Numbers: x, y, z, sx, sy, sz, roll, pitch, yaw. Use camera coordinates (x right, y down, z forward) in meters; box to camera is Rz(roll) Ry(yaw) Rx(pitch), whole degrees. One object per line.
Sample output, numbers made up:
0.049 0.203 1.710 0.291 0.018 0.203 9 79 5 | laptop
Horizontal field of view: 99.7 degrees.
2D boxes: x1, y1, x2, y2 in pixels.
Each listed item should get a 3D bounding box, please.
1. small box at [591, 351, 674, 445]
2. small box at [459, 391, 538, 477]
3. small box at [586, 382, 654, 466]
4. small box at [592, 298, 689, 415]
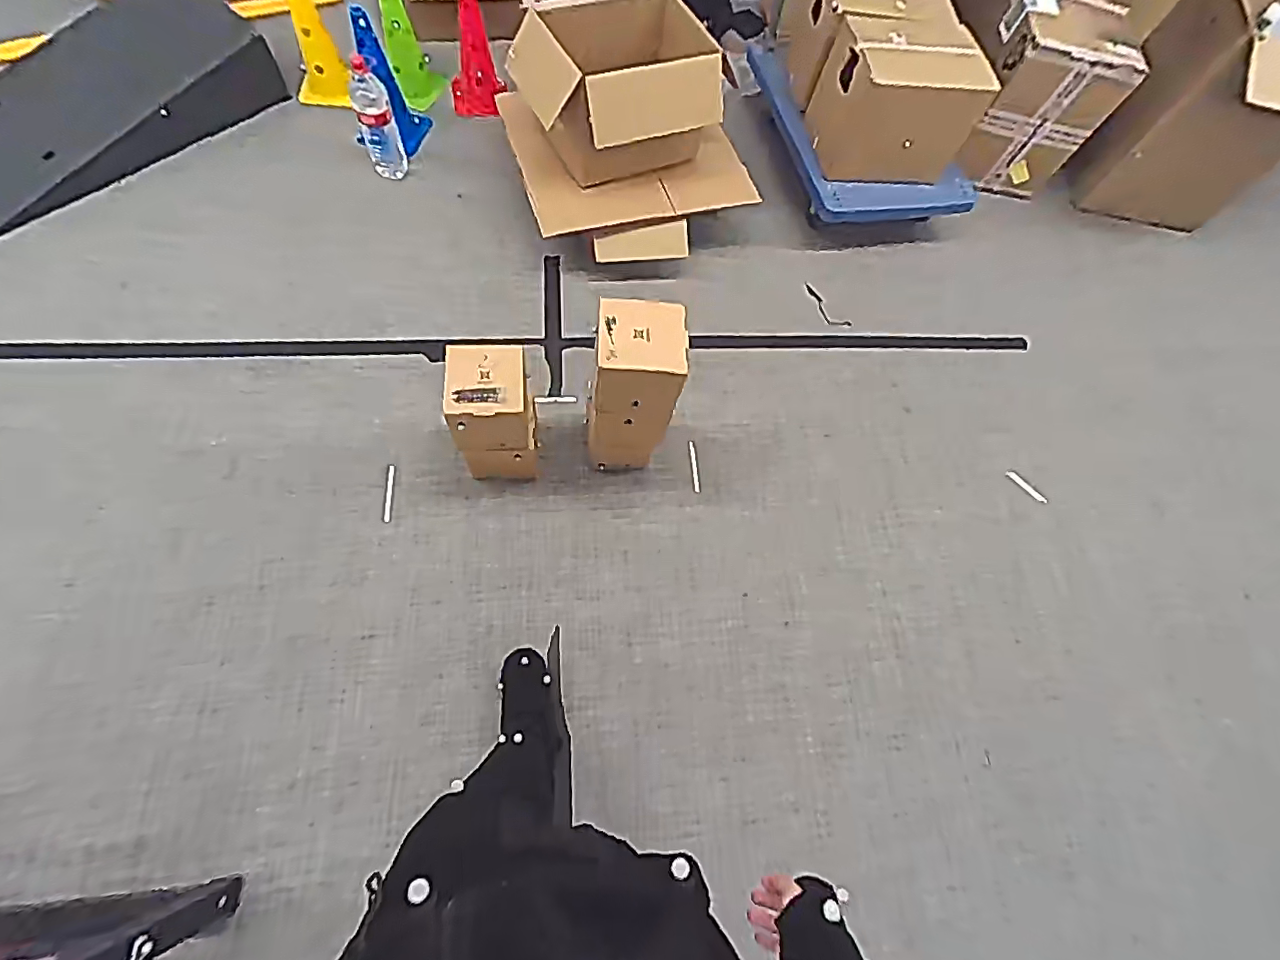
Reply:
-0.025 -0.189 1.272 0.179 0.176 0.168 0 68 -9 | small box
-0.352 -0.112 1.375 0.179 0.176 0.168 -1 68 -9 | small box
-0.054 -0.142 1.429 0.168 0.176 0.179 -2 67 -10 | small box
-0.003 -0.248 1.121 0.179 0.176 0.168 4 67 -8 | small box
